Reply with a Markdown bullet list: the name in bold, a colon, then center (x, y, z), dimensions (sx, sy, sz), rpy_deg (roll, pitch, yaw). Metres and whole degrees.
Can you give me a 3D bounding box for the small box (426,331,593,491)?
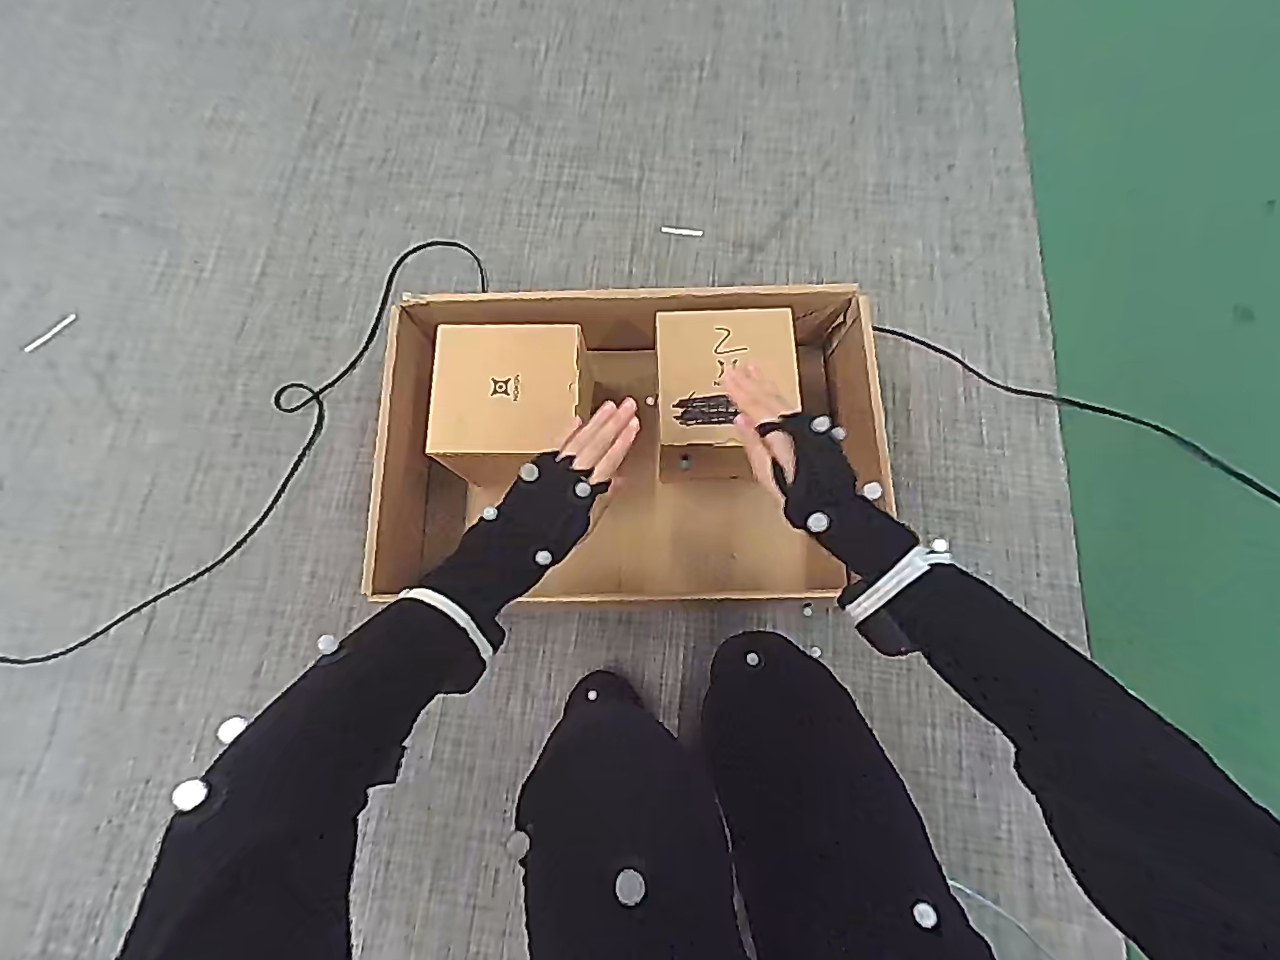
- **small box**: center (-0.160, -0.083, 0.719), dimensions (0.179, 0.176, 0.168), rpy_deg (0, 76, 0)
